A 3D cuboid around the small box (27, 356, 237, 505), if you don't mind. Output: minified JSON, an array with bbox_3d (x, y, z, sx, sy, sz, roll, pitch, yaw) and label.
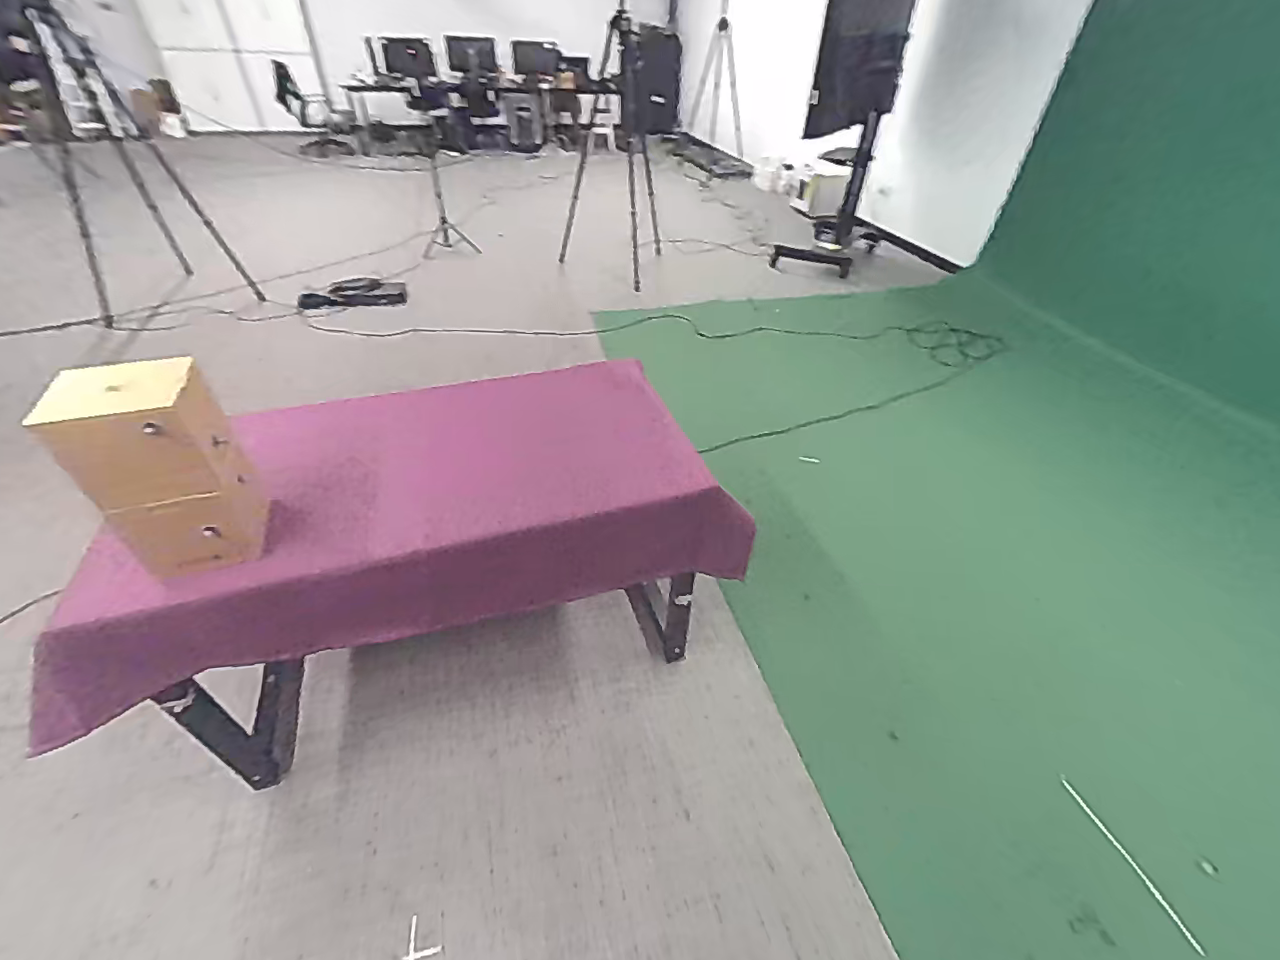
[{"bbox_3d":[-0.799,-0.080,0.876,0.179,0.176,0.168,-12,43,-20],"label":"small box"}]

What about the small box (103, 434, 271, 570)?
[{"bbox_3d":[-0.802,0.044,0.982,0.168,0.176,0.179,-11,42,-18],"label":"small box"}]
